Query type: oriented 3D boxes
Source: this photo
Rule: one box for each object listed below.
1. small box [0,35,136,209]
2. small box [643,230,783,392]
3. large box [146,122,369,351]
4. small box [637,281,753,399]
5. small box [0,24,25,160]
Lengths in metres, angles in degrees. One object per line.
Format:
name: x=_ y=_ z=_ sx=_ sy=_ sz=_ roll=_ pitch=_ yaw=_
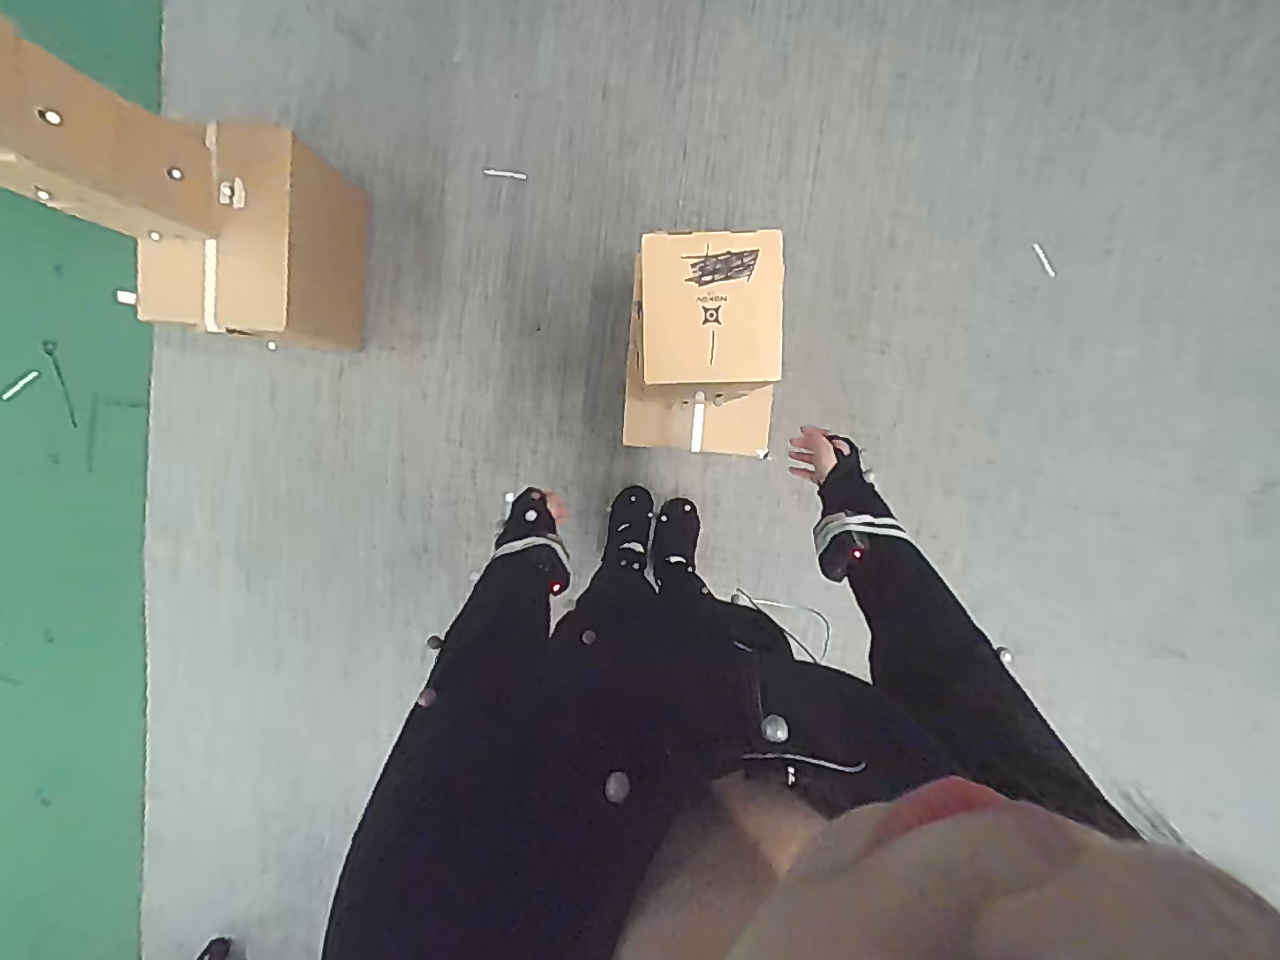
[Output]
small box: x=-0.946 y=-0.553 z=0.847 sx=0.168 sy=0.176 sz=0.179 roll=5 pitch=97 yaw=3
small box: x=0.087 y=-0.210 z=0.715 sx=0.168 sy=0.176 sz=0.179 roll=-1 pitch=96 yaw=2
large box: x=-0.862 y=-0.530 z=1.258 sx=0.320 sy=0.320 sz=0.408 roll=5 pitch=95 yaw=0
small box: x=0.087 y=-0.221 z=0.880 sx=0.179 sy=0.176 sz=0.168 roll=2 pitch=95 yaw=2
small box: x=-0.949 y=-0.542 z=0.684 sx=0.168 sy=0.176 sz=0.179 roll=7 pitch=97 yaw=3
